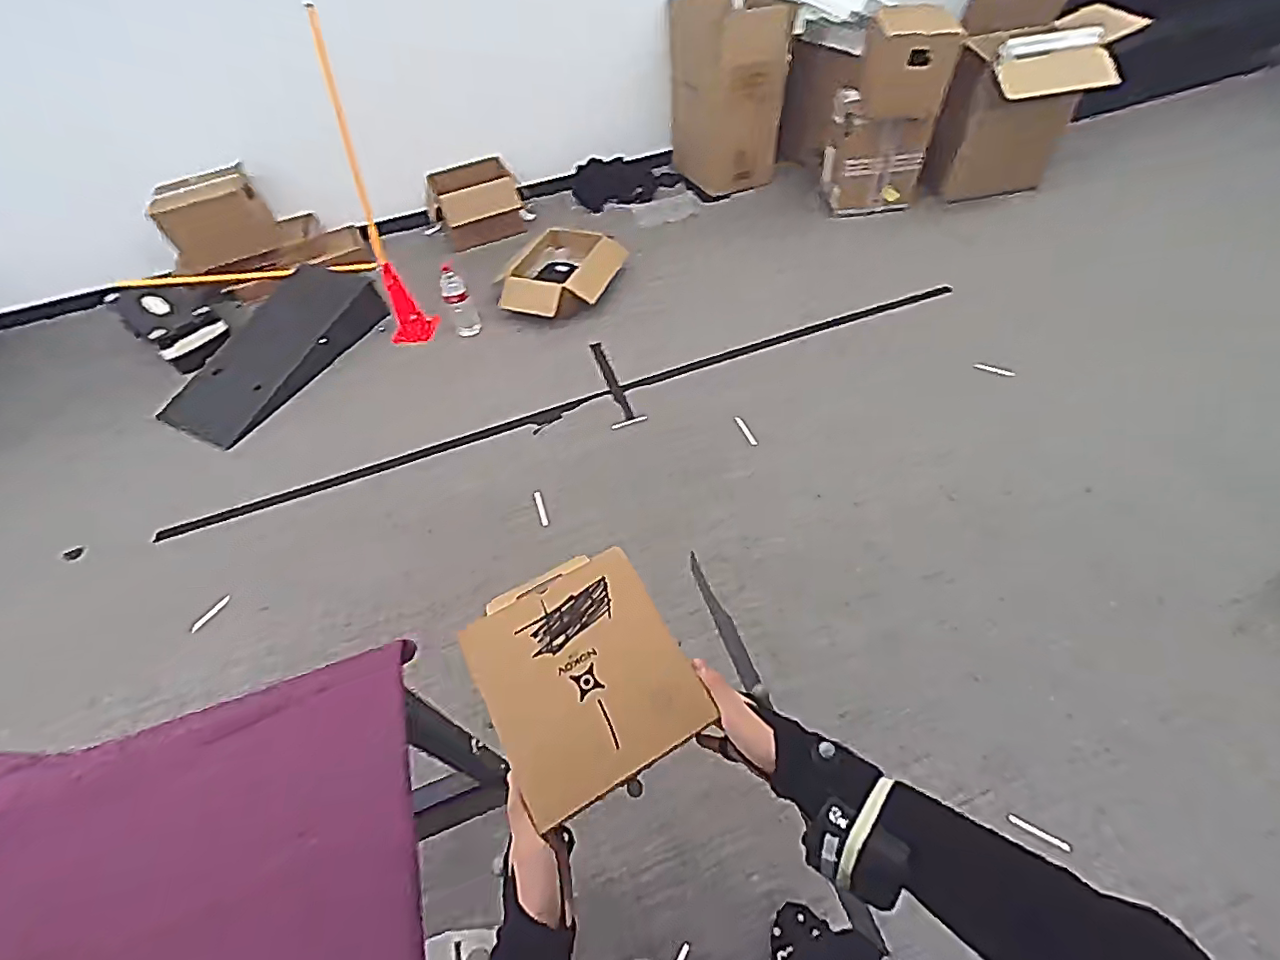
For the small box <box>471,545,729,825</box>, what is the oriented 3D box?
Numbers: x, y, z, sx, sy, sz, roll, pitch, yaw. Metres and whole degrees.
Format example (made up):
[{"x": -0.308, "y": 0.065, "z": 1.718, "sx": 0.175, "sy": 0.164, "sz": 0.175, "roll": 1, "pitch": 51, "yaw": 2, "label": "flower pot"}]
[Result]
[{"x": -0.039, "y": 0.198, "z": 0.525, "sx": 0.168, "sy": 0.176, "sz": 0.179, "roll": -27, "pitch": 65, "yaw": -13, "label": "small box"}]
